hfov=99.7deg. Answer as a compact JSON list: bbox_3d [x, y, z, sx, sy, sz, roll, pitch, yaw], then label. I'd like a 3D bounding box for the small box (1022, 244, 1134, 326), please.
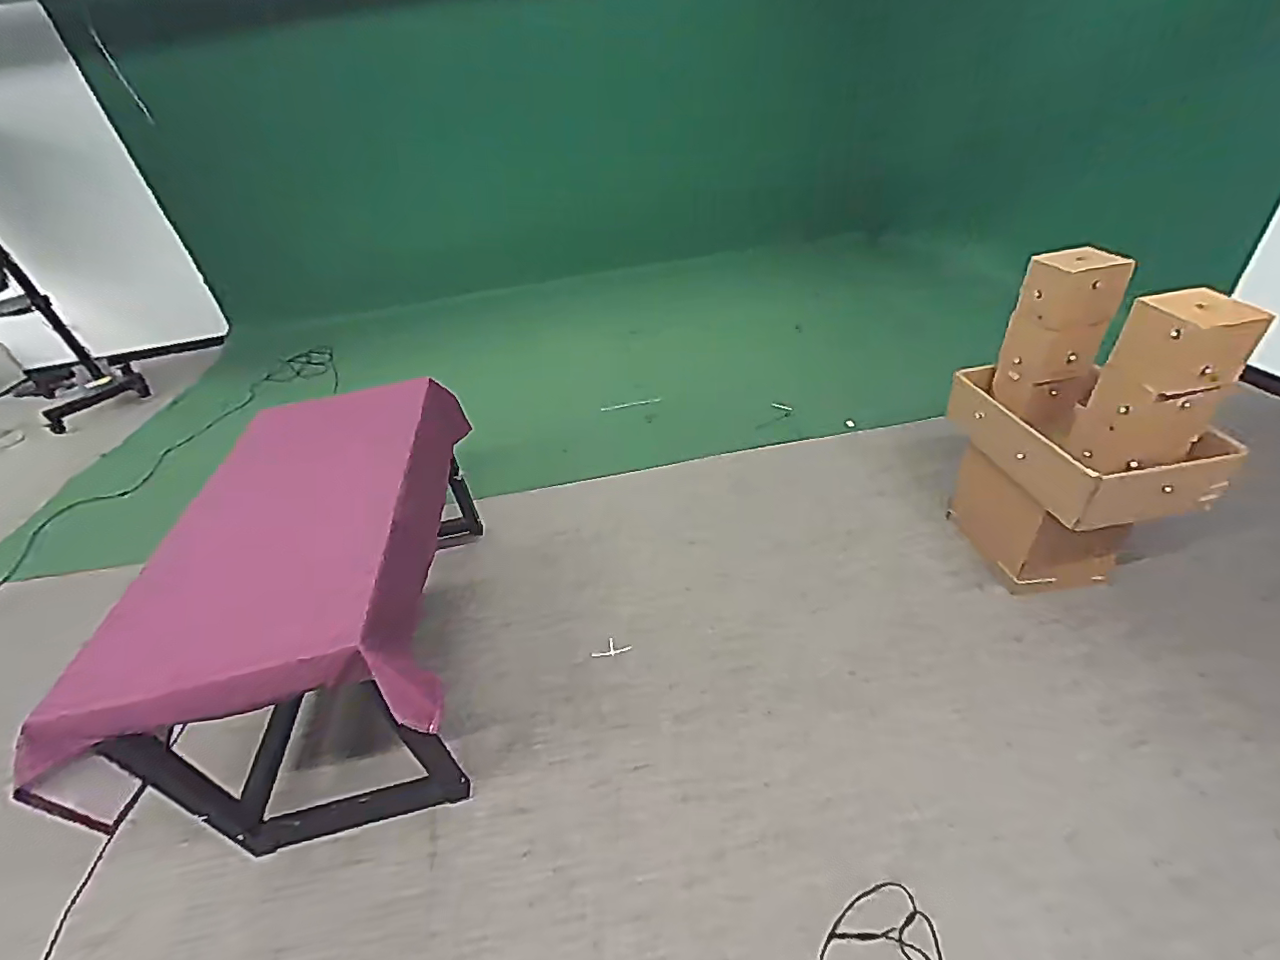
[{"bbox_3d":[1.231,-0.553,1.541,0.179,0.176,0.168,-10,37,0],"label":"small box"}]

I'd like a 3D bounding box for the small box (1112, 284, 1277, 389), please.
[{"bbox_3d":[1.259,-0.332,1.248,0.168,0.176,0.179,-10,39,0],"label":"small box"}]

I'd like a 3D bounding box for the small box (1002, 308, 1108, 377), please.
[{"bbox_3d":[1.249,-0.425,1.643,0.168,0.176,0.179,-11,37,-2],"label":"small box"}]

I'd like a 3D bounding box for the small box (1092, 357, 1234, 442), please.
[{"bbox_3d":[1.282,-0.207,1.349,0.179,0.176,0.168,-6,38,4],"label":"small box"}]
